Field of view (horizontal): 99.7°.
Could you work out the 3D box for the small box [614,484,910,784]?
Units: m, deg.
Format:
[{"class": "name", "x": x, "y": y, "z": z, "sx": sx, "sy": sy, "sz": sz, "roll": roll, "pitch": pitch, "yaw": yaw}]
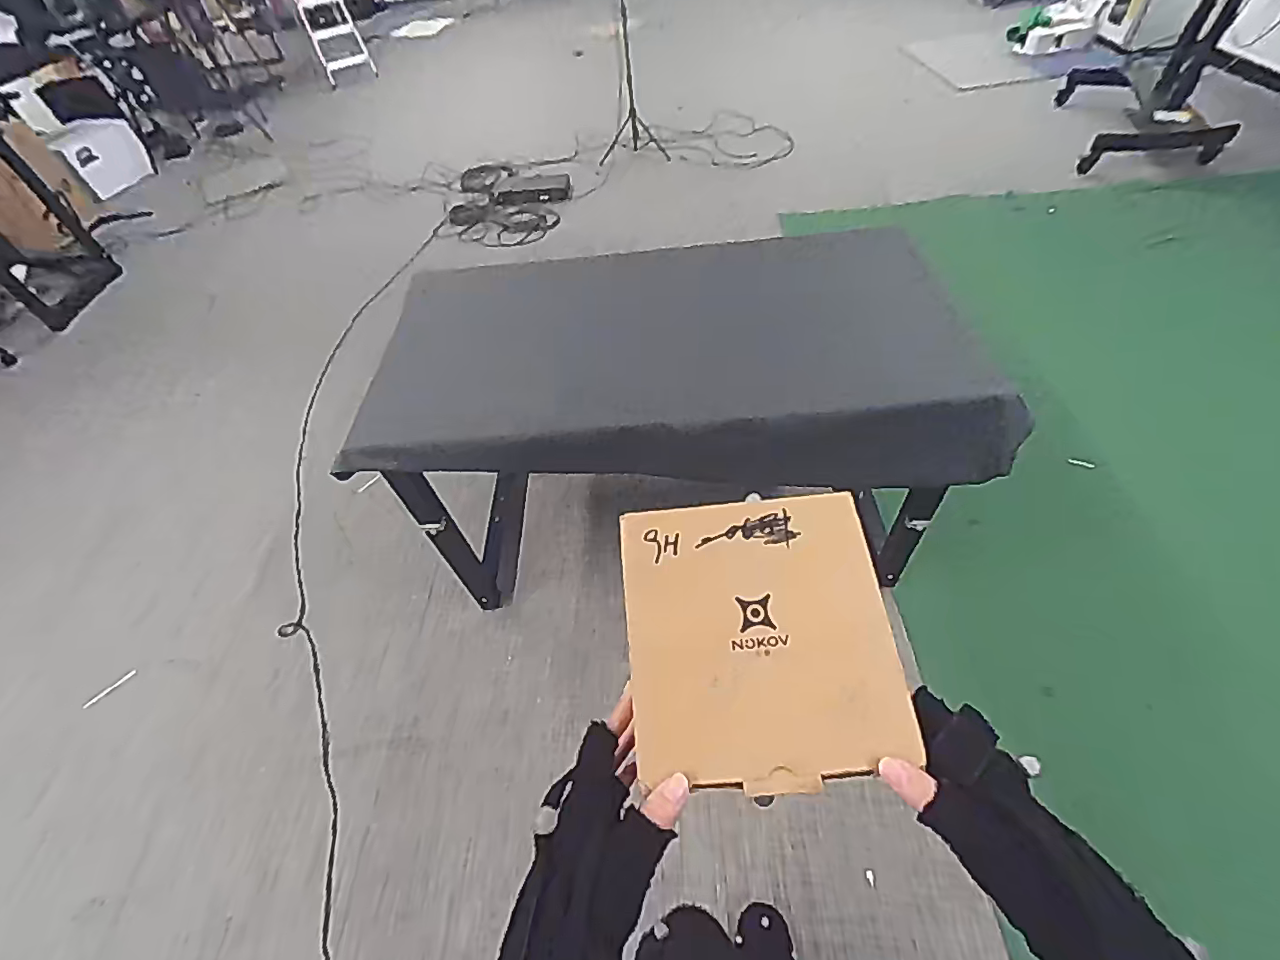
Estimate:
[{"class": "small box", "x": 0.076, "y": 0.123, "z": 0.420, "sx": 0.168, "sy": 0.176, "sz": 0.179, "roll": -7, "pitch": 65, "yaw": 2}]
